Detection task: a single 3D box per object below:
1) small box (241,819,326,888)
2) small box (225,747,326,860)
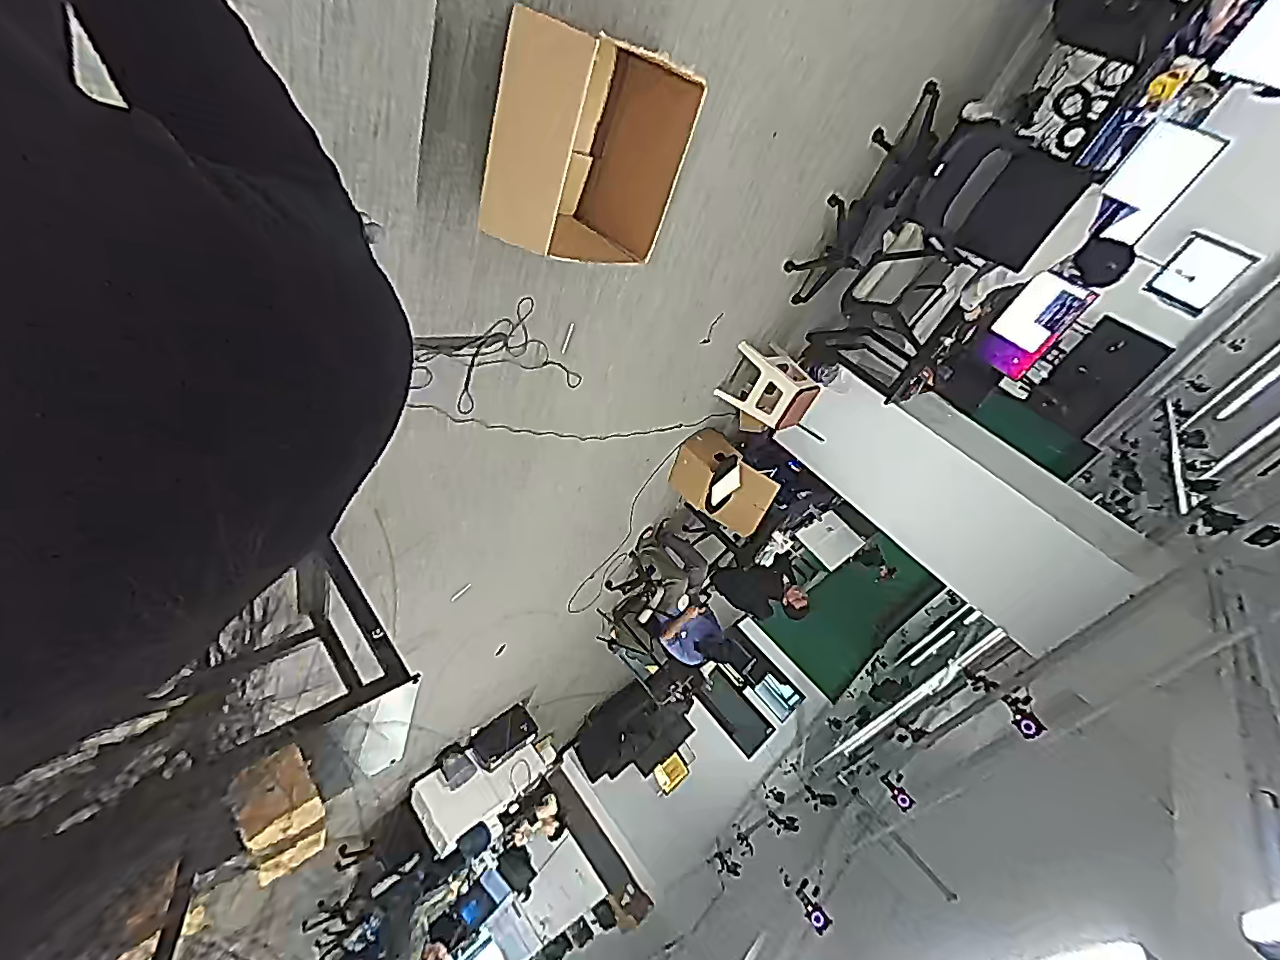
[{"bbox_3d":[-1.043,1.032,1.581,0.168,0.176,0.179,-18,144,-45],"label":"small box"},{"bbox_3d":[-0.951,0.838,1.415,0.168,0.176,0.179,-24,148,-39],"label":"small box"}]
